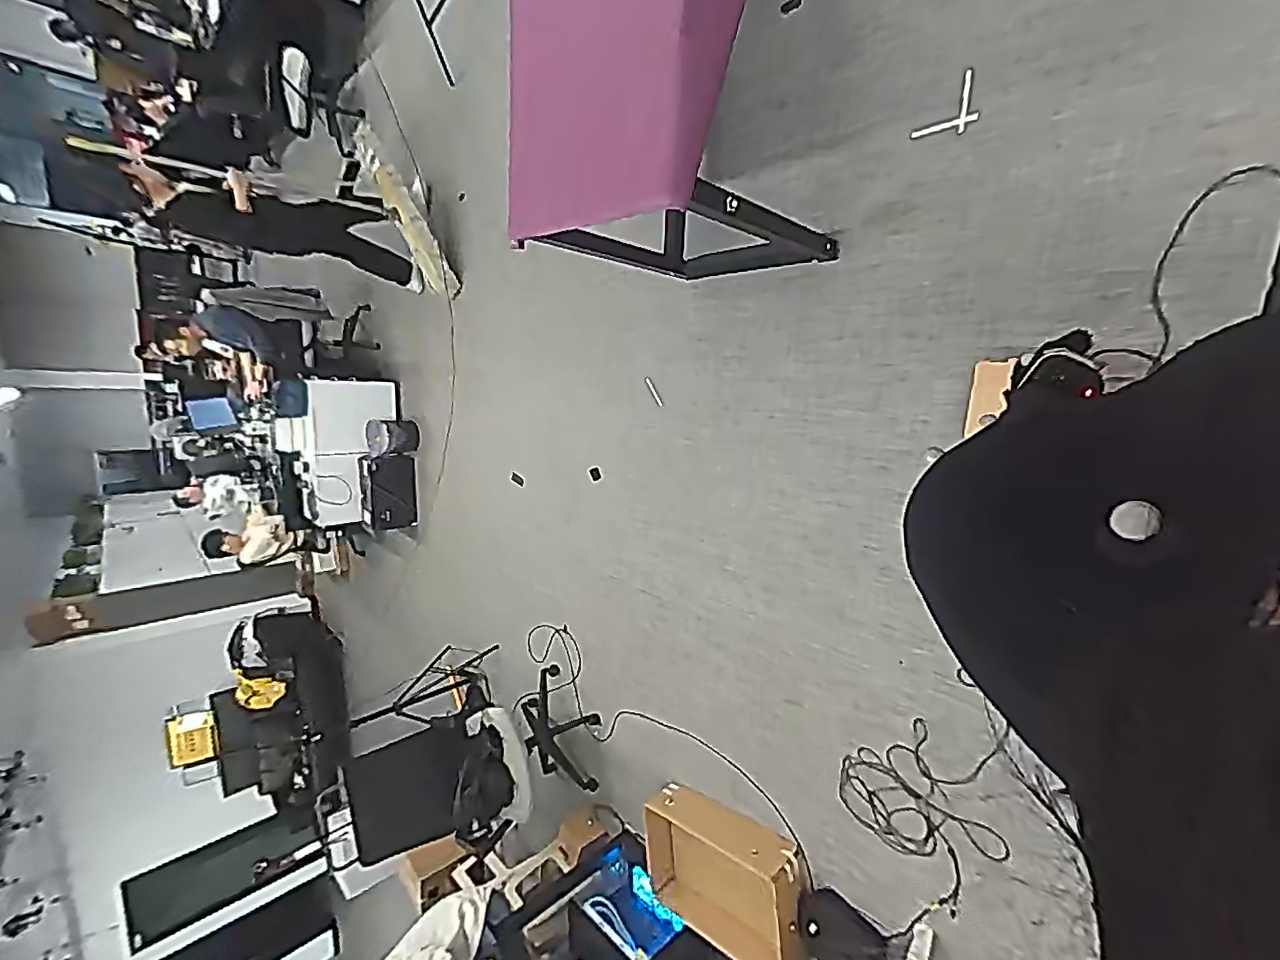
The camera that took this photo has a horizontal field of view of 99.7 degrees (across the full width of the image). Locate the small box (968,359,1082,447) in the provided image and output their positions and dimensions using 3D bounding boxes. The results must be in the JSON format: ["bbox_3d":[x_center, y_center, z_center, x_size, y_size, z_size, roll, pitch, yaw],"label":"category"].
[{"bbox_3d":[0.857,-0.171,1.201,0.168,0.176,0.179,14,103,45],"label":"small box"}]
